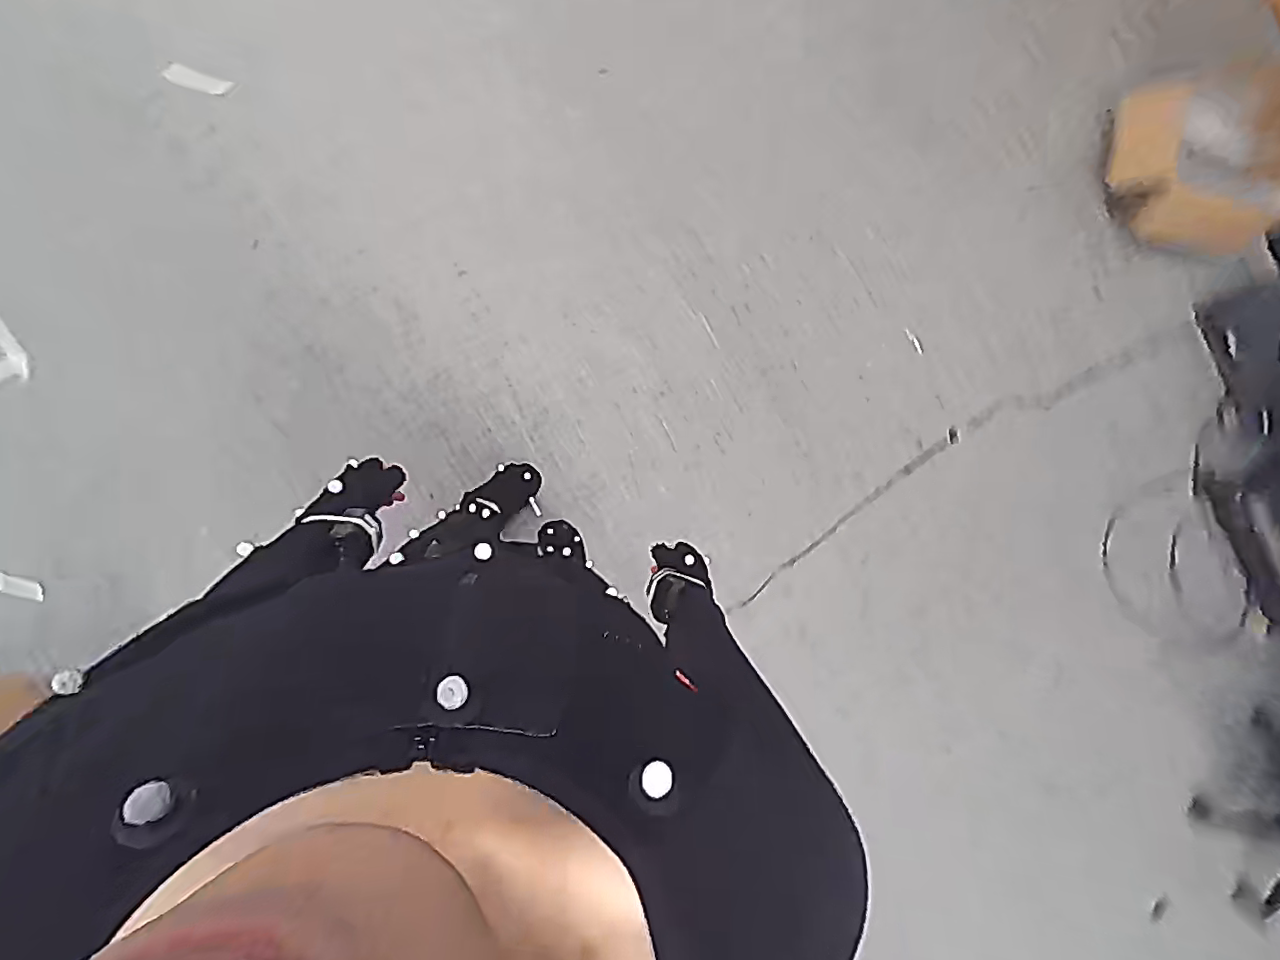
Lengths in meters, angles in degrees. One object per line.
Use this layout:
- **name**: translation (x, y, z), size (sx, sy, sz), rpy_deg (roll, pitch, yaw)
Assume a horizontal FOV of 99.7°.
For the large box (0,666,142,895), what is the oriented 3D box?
- **large box**: translation (-1.444, 0.688, 1.158), size (0.320, 0.320, 0.408), rpy_deg (-38, 96, -7)
